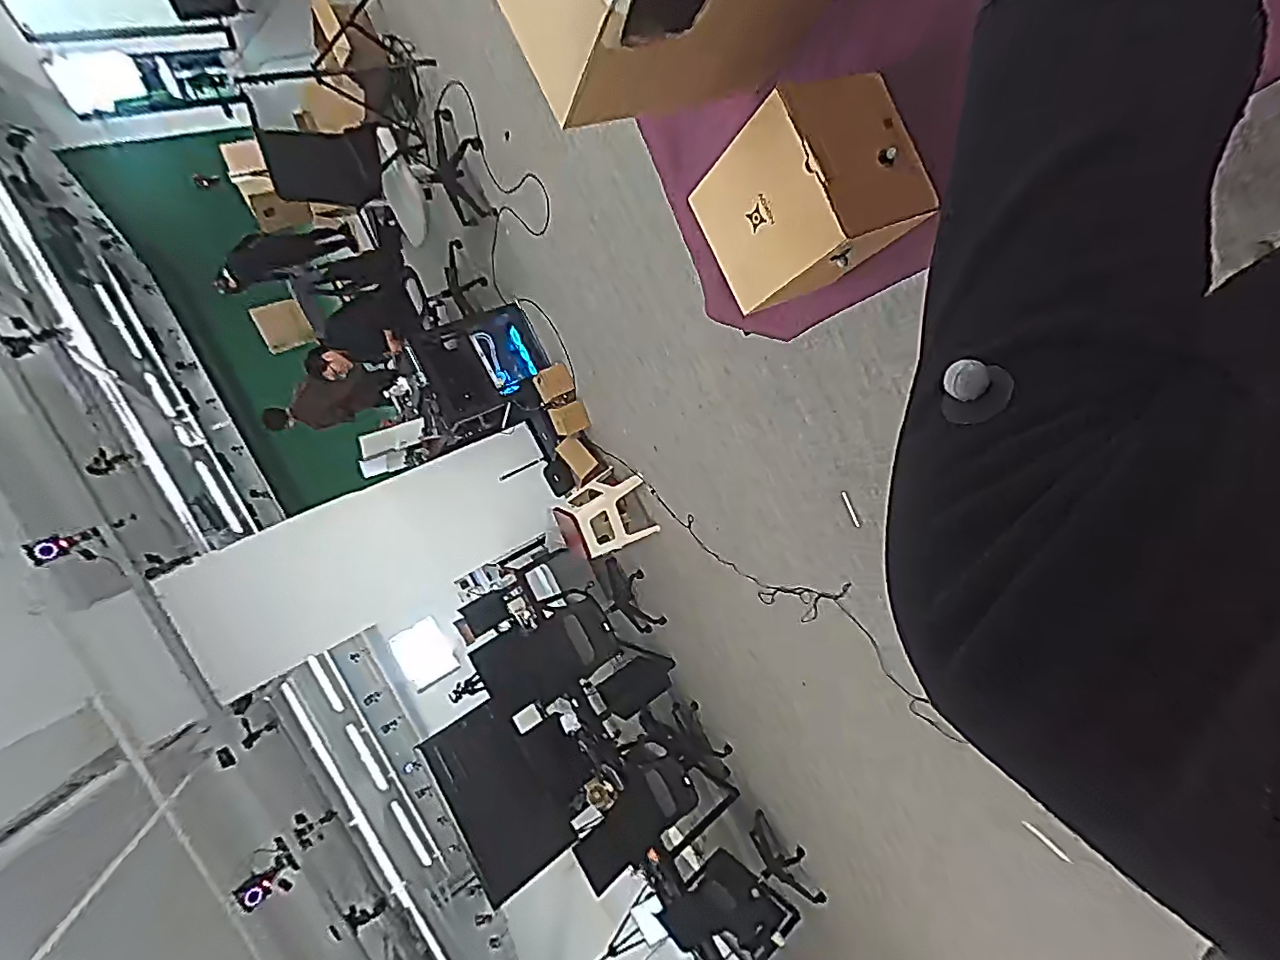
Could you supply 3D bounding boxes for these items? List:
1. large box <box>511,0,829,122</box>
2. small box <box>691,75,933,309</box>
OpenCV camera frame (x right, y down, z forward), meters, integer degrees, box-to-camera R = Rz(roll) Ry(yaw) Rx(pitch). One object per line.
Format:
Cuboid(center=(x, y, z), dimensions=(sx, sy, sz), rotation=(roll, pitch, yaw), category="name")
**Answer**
Cuboid(center=(0.015, -0.647, 0.499), dimensions=(0.408, 0.320, 0.320), rotation=(61, 155, -4), category="large box")
Cuboid(center=(0.197, -0.332, 0.637), dimensions=(0.168, 0.176, 0.179), rotation=(63, 153, -1), category="small box")
